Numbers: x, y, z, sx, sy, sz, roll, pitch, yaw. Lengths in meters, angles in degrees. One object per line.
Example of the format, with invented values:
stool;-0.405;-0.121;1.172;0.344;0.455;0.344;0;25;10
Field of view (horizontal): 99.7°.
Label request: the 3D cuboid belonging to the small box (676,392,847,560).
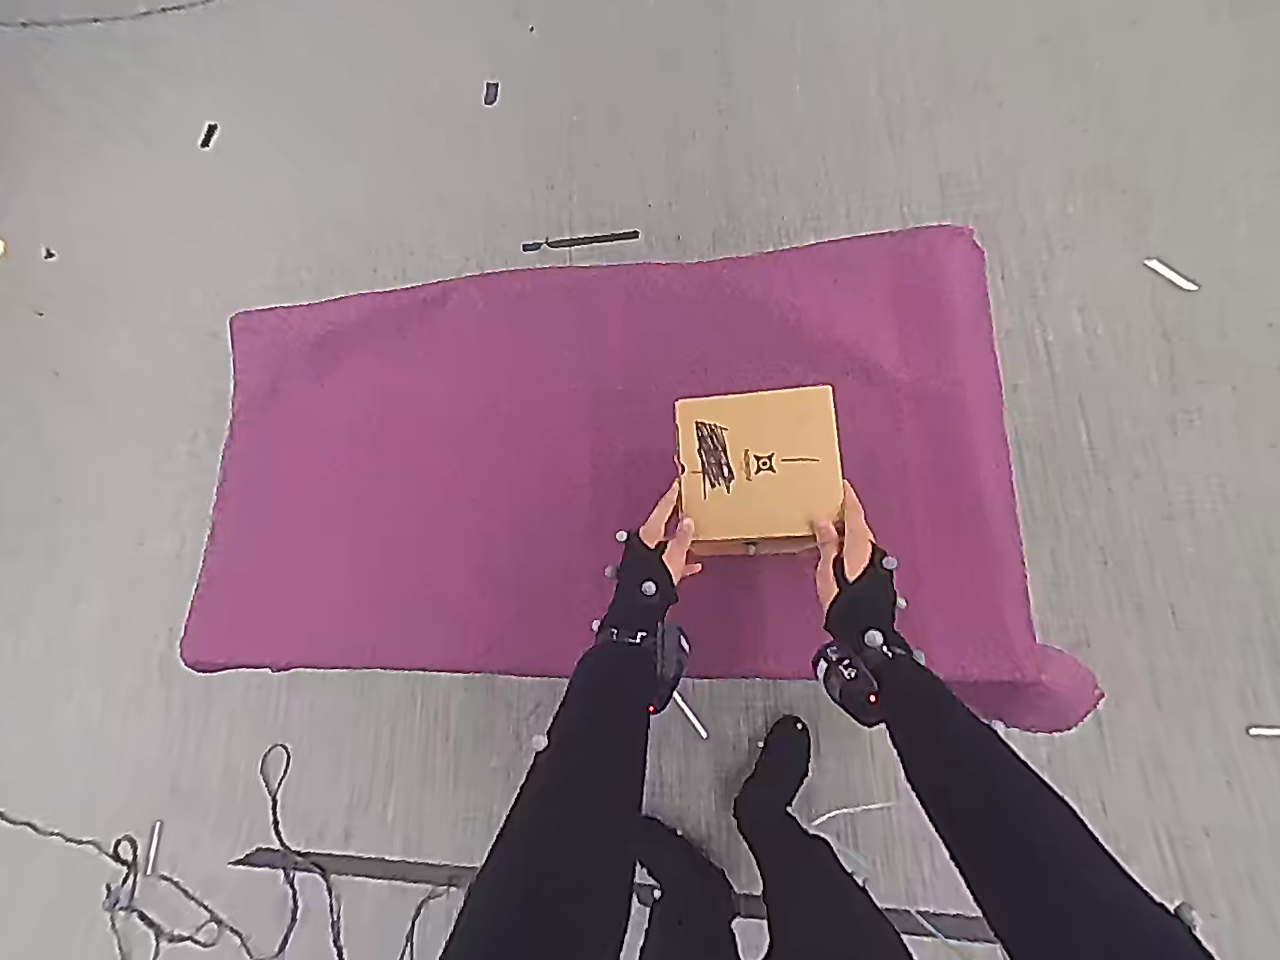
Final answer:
small box;0.144;0.006;0.663;0.179;0.176;0.168;-4;76;11
